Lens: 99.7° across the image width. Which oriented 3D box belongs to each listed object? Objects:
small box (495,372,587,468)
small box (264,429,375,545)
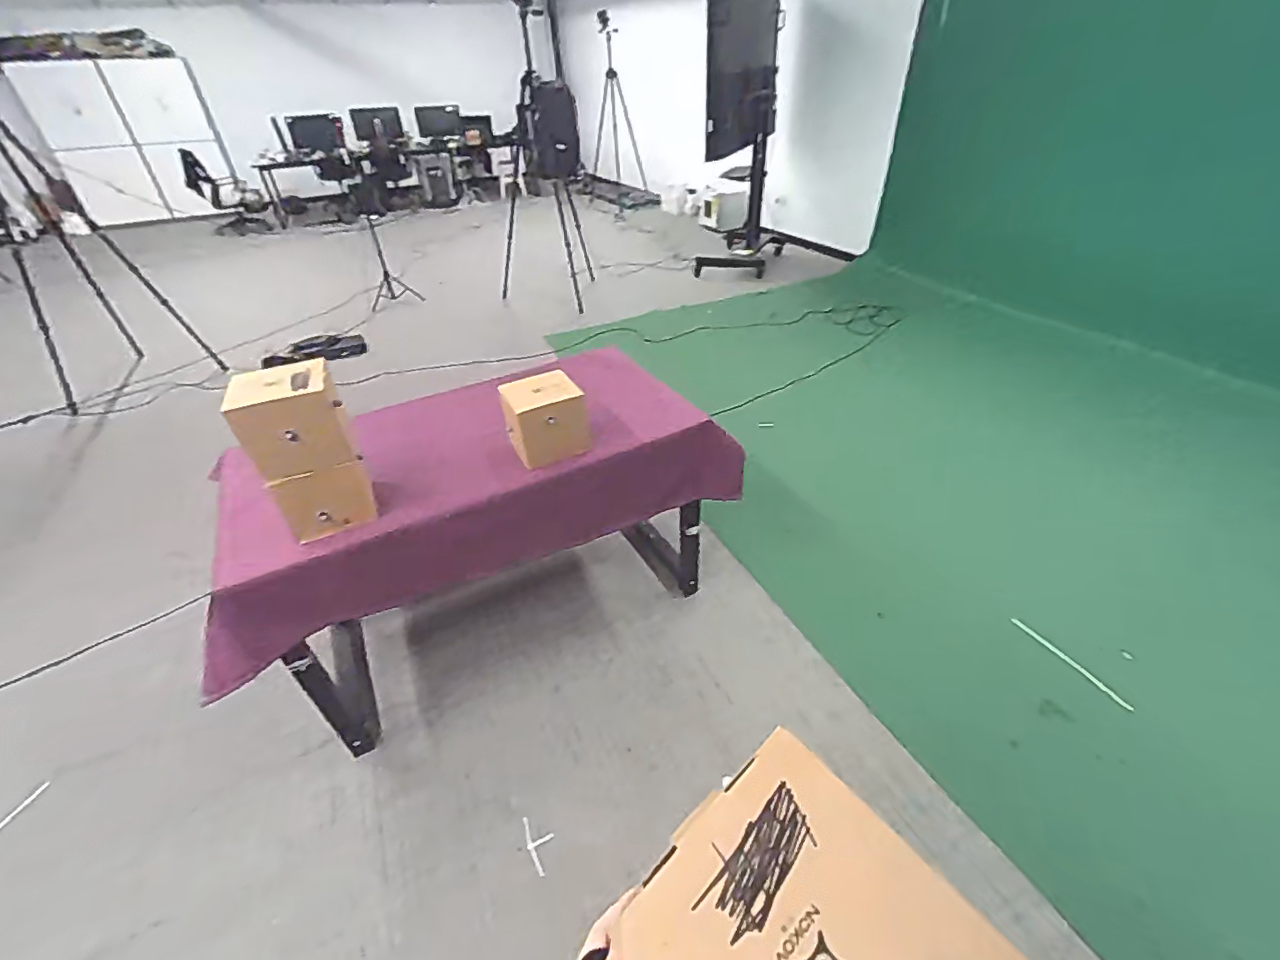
[{"bbox_3d":[-0.250,-0.153,1.388,0.179,0.176,0.168,-20,41,-20],"label":"small box"},{"bbox_3d":[-0.710,0.013,1.206,0.168,0.176,0.179,-20,41,-21],"label":"small box"}]
